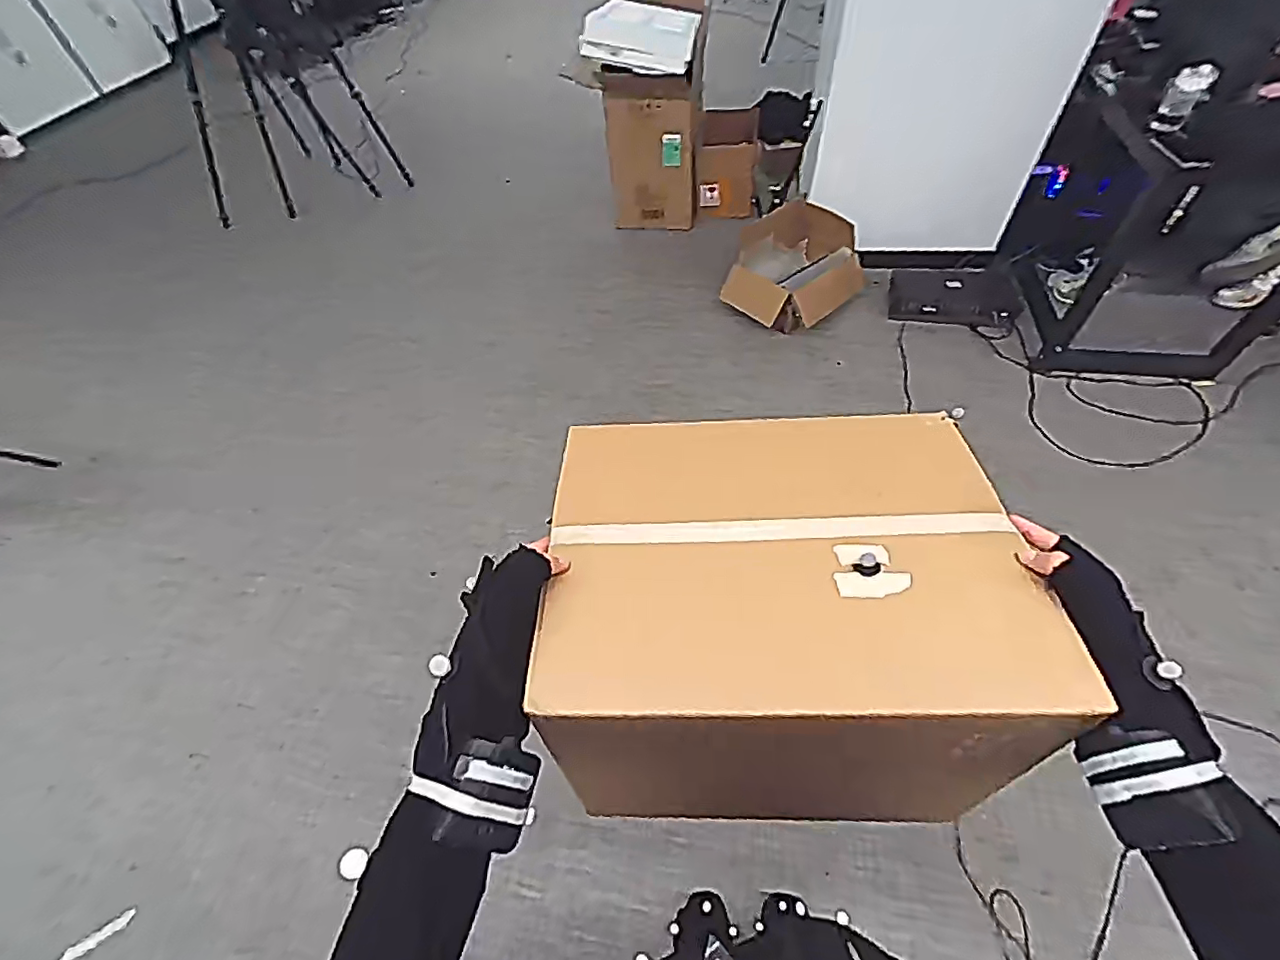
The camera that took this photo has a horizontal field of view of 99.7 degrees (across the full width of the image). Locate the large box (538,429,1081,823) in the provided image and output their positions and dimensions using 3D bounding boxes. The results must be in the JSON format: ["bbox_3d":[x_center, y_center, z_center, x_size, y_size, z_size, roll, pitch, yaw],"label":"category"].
[{"bbox_3d":[0.129,0.165,0.602,0.408,0.320,0.320,-2,46,3],"label":"large box"}]
